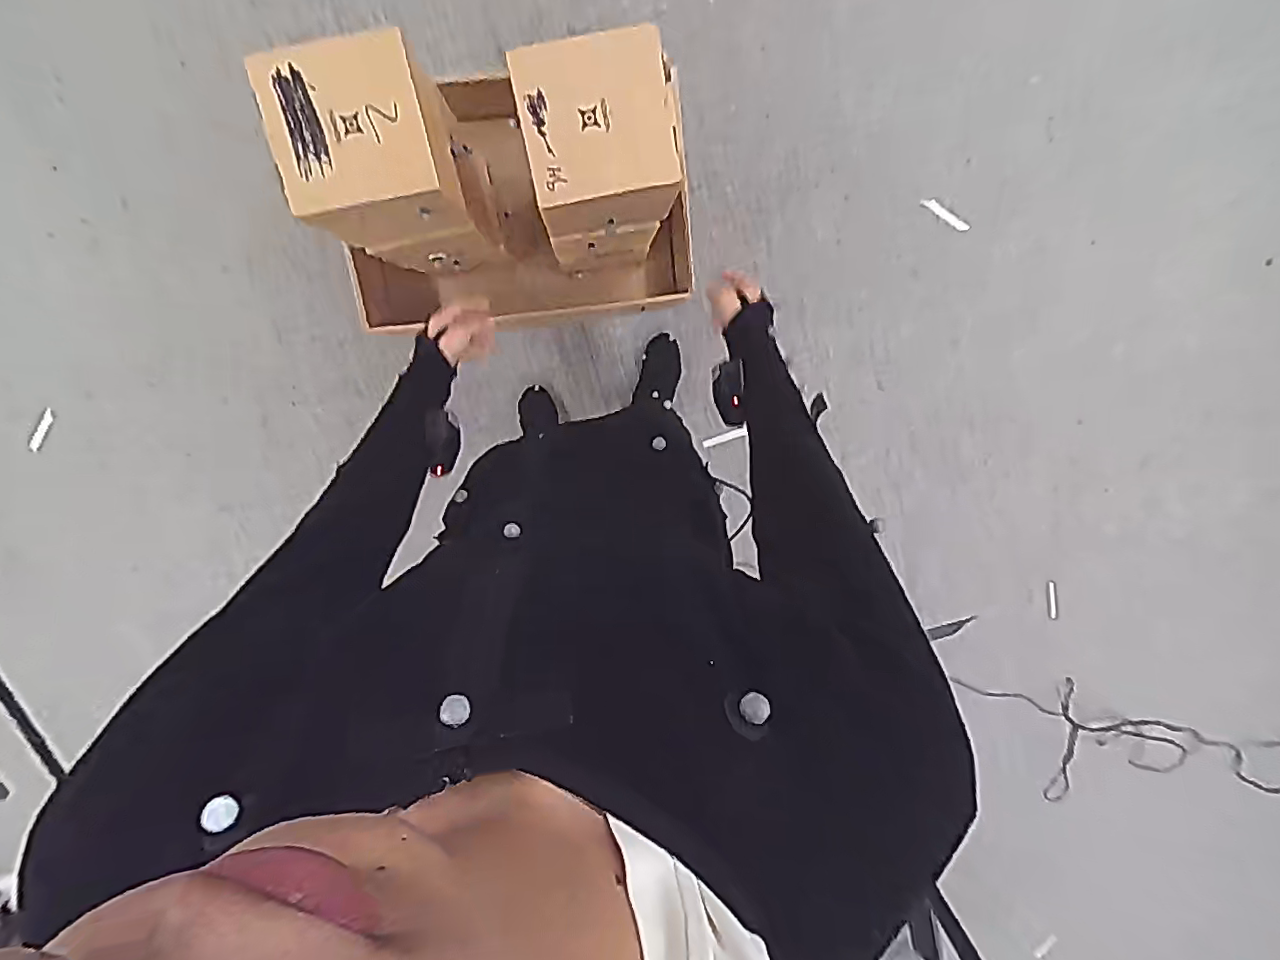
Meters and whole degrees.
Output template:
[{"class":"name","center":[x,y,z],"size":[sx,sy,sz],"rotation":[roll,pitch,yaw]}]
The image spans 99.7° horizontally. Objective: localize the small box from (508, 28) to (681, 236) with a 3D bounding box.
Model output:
[{"class":"small box","center":[-0.056,-0.429,0.695],"size":[0.179,0.176,0.168],"rotation":[-11,103,-2]}]

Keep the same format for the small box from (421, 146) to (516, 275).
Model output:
[{"class":"small box","center":[-0.341,-0.484,0.997],"size":[0.179,0.176,0.168],"rotation":[-10,104,-2]}]

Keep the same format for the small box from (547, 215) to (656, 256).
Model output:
[{"class":"small box","center":[-0.071,-0.463,0.854],"size":[0.168,0.176,0.179],"rotation":[-9,103,-2]}]

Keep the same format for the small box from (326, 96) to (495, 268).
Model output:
[{"class":"small box","center":[-0.339,-0.446,0.836],"size":[0.168,0.176,0.179],"rotation":[-12,104,1]}]
